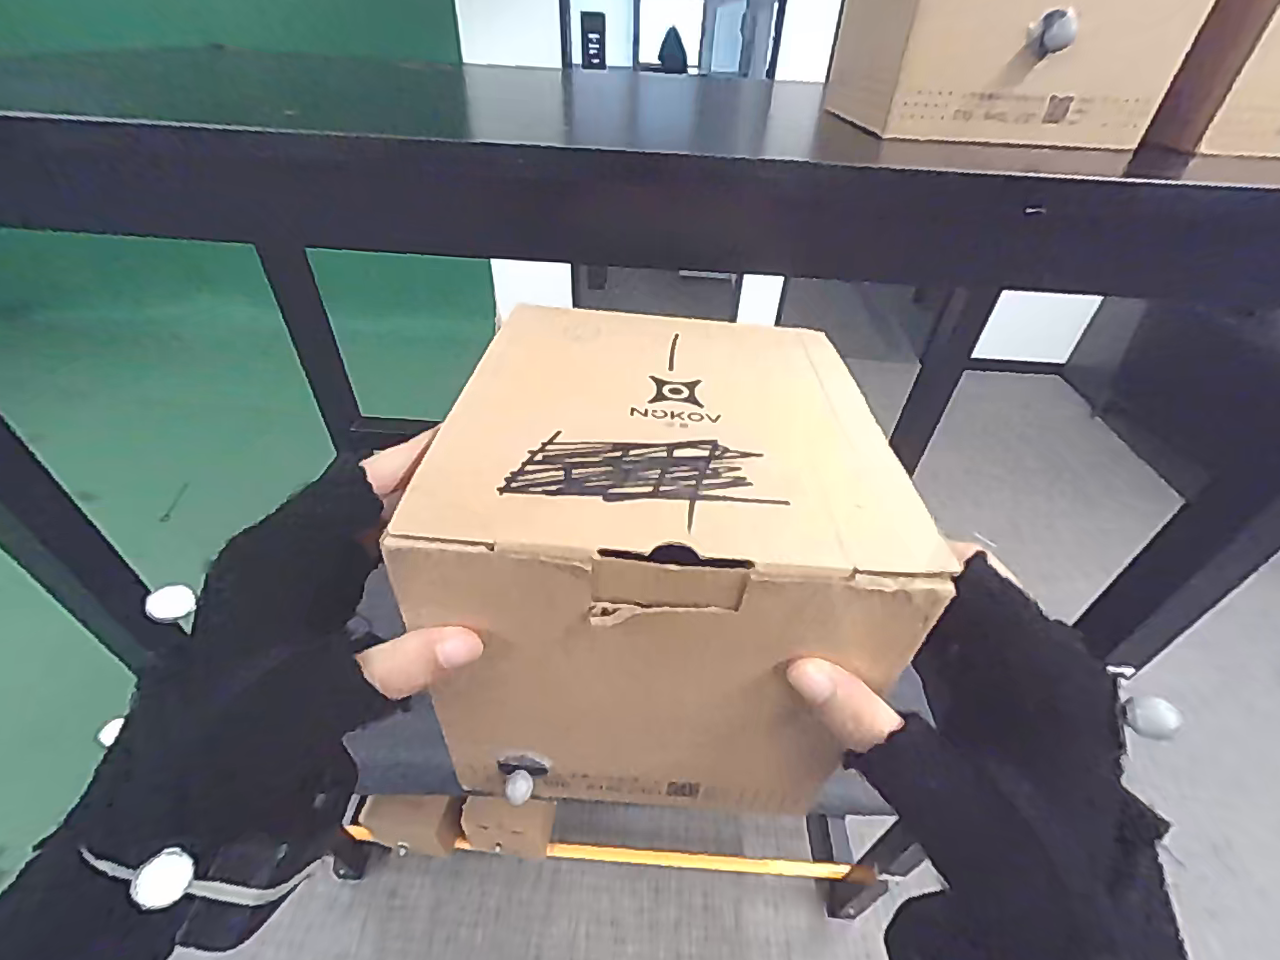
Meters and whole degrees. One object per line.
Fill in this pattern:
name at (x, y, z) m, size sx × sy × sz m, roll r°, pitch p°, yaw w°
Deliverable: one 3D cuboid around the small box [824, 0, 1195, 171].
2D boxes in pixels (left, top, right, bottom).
small box at (0.243, -0.331, 0.378) m, size 0.168 × 0.176 × 0.179 m, roll 3°, pitch 39°, yaw 1°
